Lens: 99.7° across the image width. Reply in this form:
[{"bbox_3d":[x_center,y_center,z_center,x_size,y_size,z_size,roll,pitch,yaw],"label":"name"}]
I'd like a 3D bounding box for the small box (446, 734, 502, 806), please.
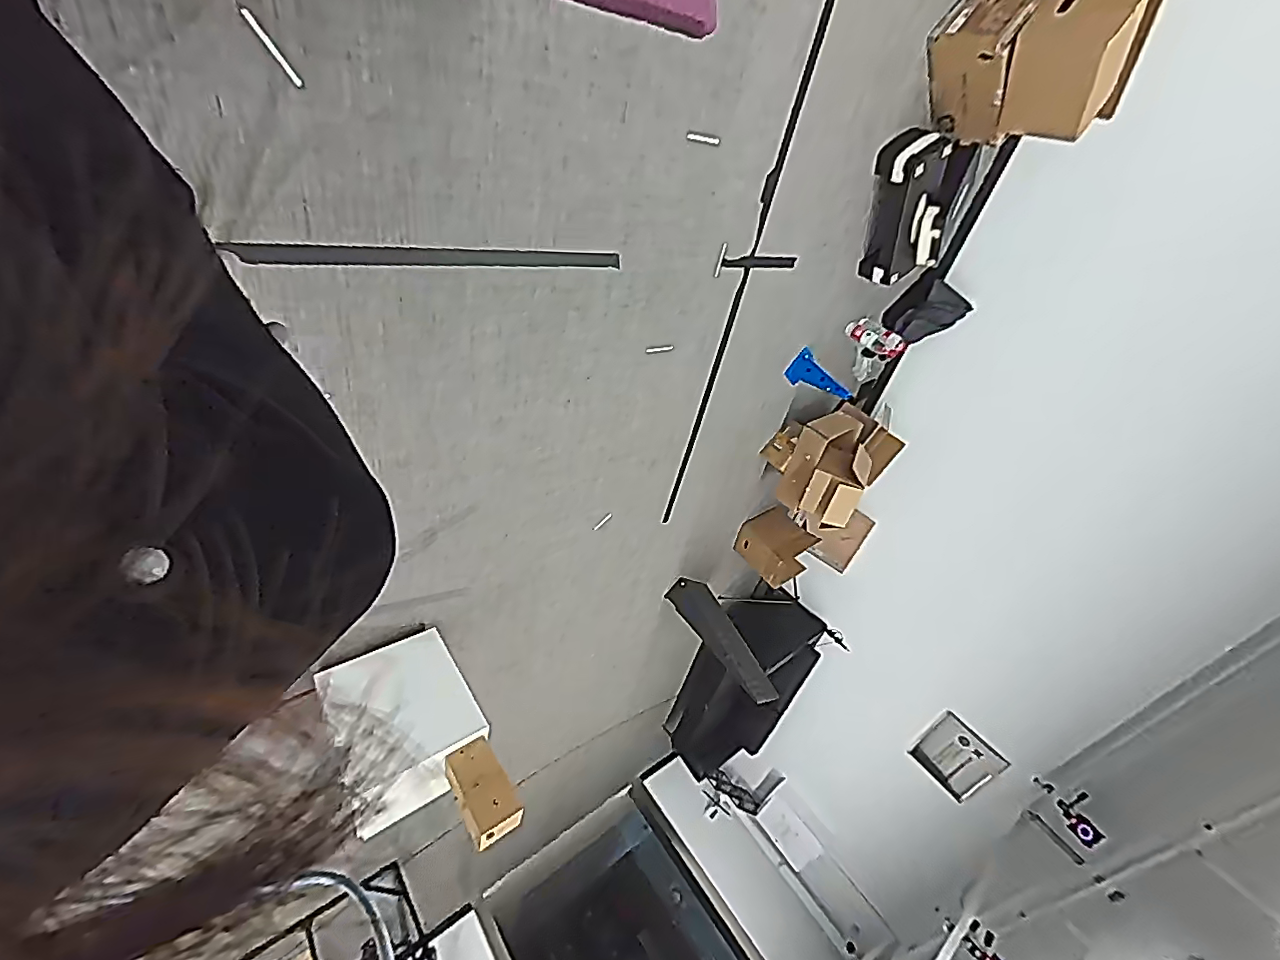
[{"bbox_3d":[-0.677,1.170,2.191,0.168,0.176,0.179,-17,139,-36],"label":"small box"}]

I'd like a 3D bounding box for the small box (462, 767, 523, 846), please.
[{"bbox_3d":[-0.578,1.265,2.100,0.179,0.176,0.168,-17,139,-36],"label":"small box"}]
